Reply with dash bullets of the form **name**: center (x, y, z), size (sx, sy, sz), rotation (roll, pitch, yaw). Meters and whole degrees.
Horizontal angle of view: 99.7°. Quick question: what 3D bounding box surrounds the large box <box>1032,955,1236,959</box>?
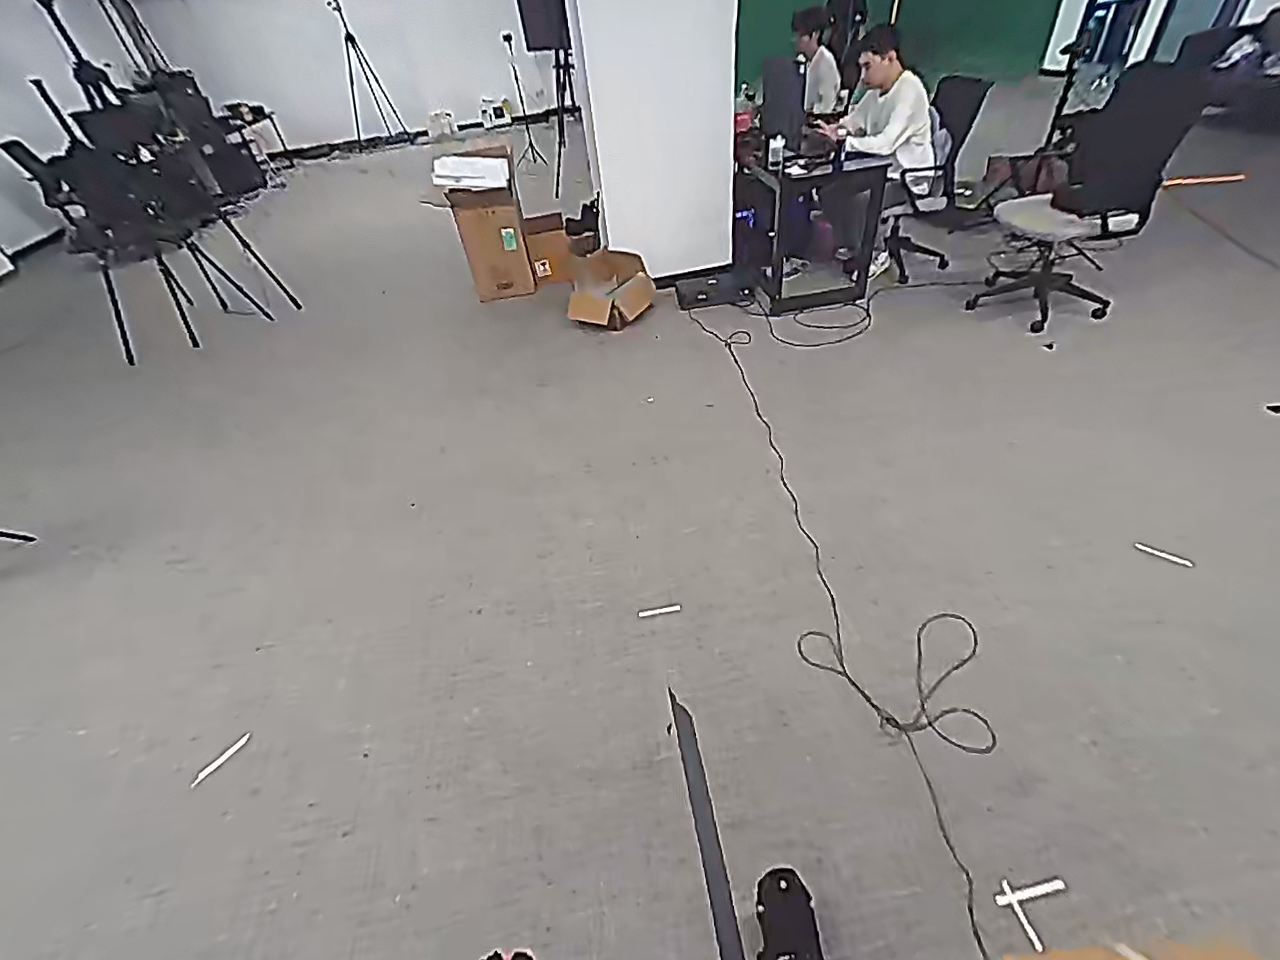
- **large box**: center (0.641, 0.736, 0.494), size (0.320, 0.408, 0.320), rotation (-3, 75, 0)
